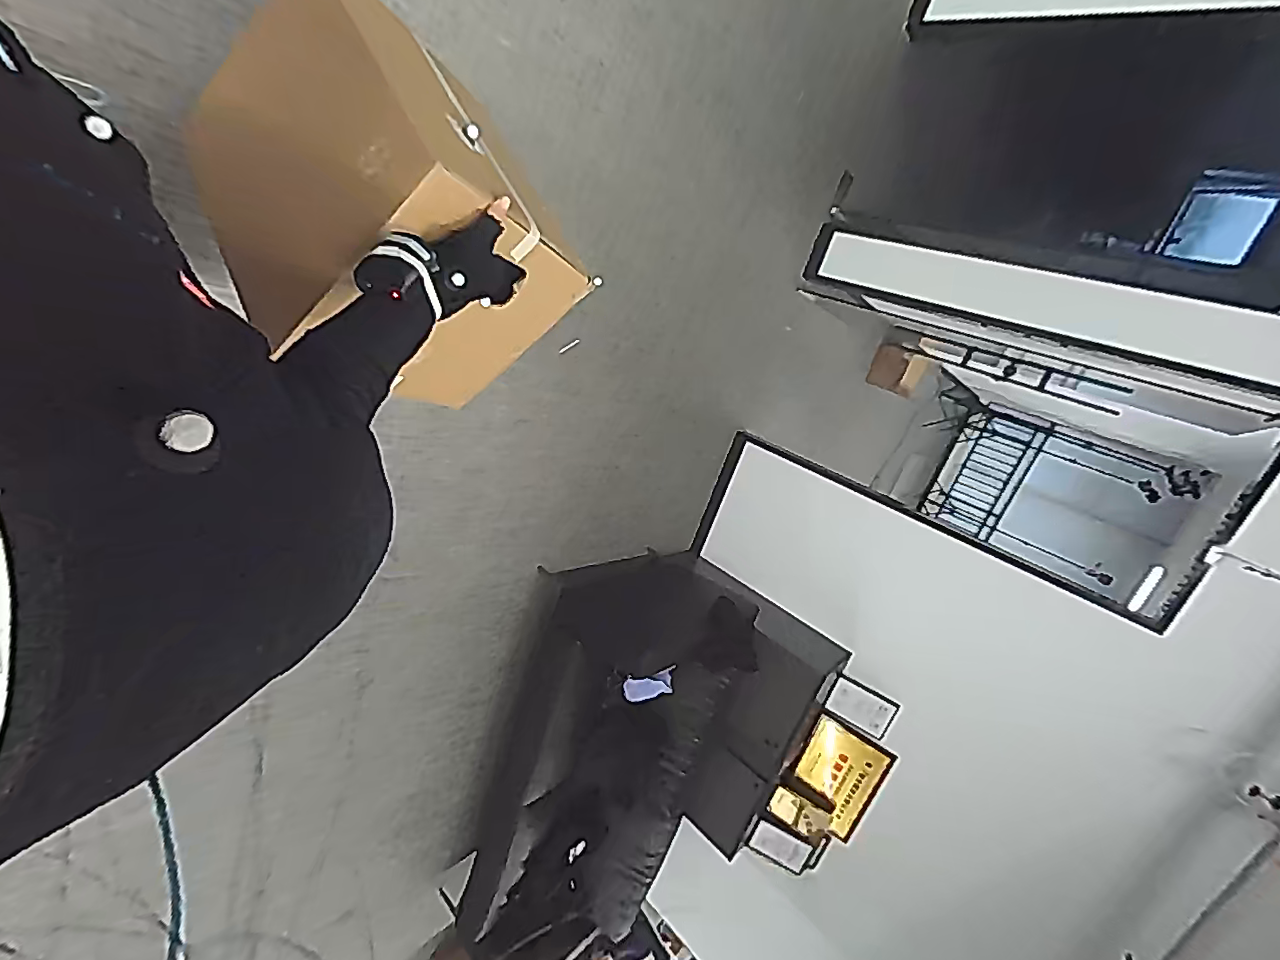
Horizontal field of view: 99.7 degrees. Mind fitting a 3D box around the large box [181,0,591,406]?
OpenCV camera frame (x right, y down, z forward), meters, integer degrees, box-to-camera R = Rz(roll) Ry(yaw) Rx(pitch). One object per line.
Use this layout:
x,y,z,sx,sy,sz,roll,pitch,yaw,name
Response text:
-0.346,-0.374,0.764,0.320,0.408,0.320,-36,164,19,large box
